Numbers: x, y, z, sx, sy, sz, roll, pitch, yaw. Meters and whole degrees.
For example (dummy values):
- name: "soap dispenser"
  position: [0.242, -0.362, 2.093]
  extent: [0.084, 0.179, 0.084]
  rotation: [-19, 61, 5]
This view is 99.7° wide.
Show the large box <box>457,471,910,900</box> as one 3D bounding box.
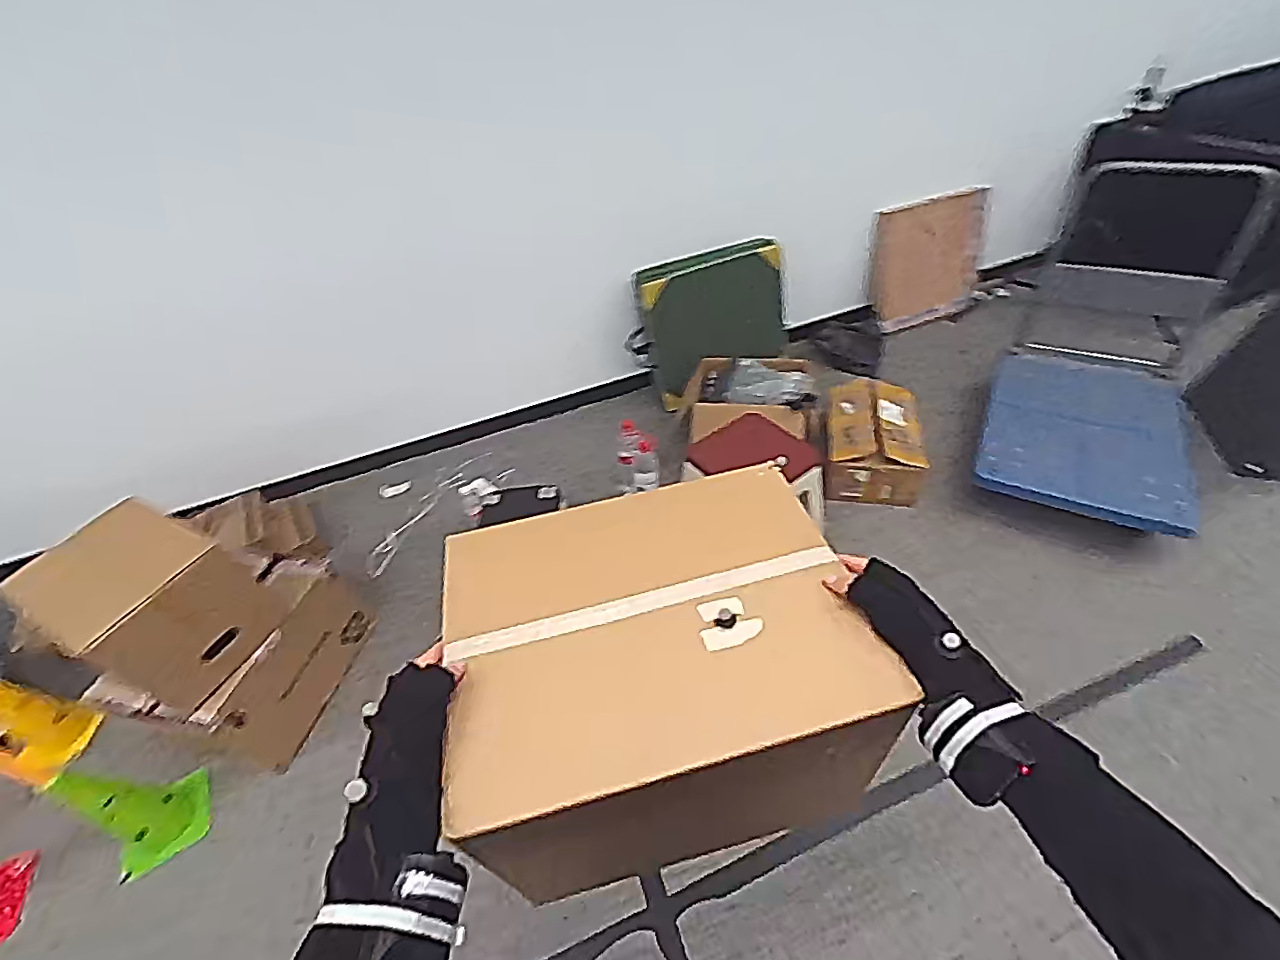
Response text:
- name: "large box"
  position: [0.023, 0.239, 0.655]
  extent: [0.408, 0.320, 0.320]
  rotation: [-12, 44, -6]
